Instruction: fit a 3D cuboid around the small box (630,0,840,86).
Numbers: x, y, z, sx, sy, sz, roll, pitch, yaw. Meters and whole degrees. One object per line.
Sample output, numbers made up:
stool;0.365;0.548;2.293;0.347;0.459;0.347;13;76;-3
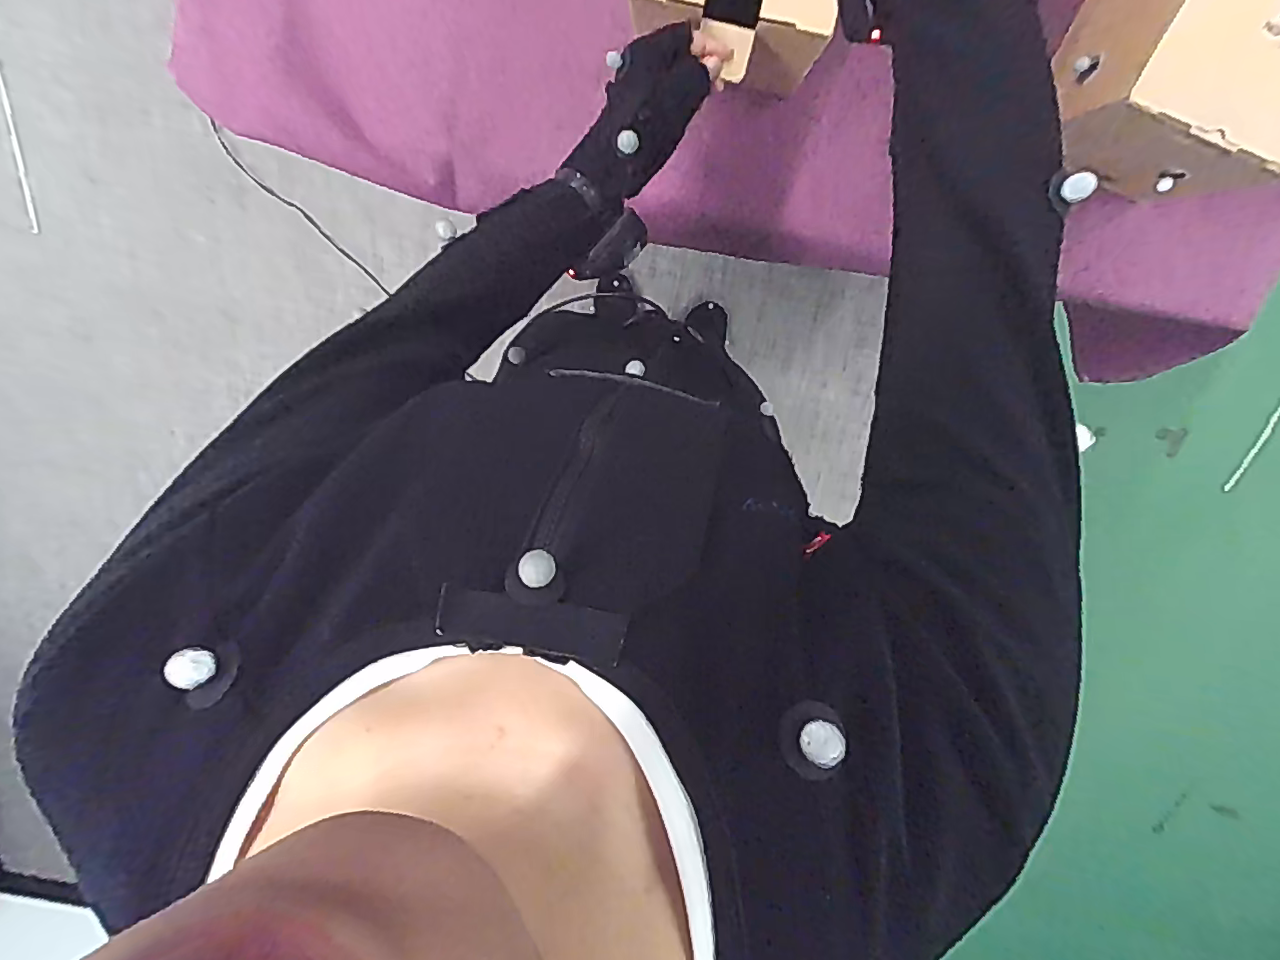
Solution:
small box;0.093;-0.469;0.459;0.168;0.176;0.179;11;113;-1

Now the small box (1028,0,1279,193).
small box;0.488;-0.373;0.467;0.168;0.176;0.179;21;111;-4
